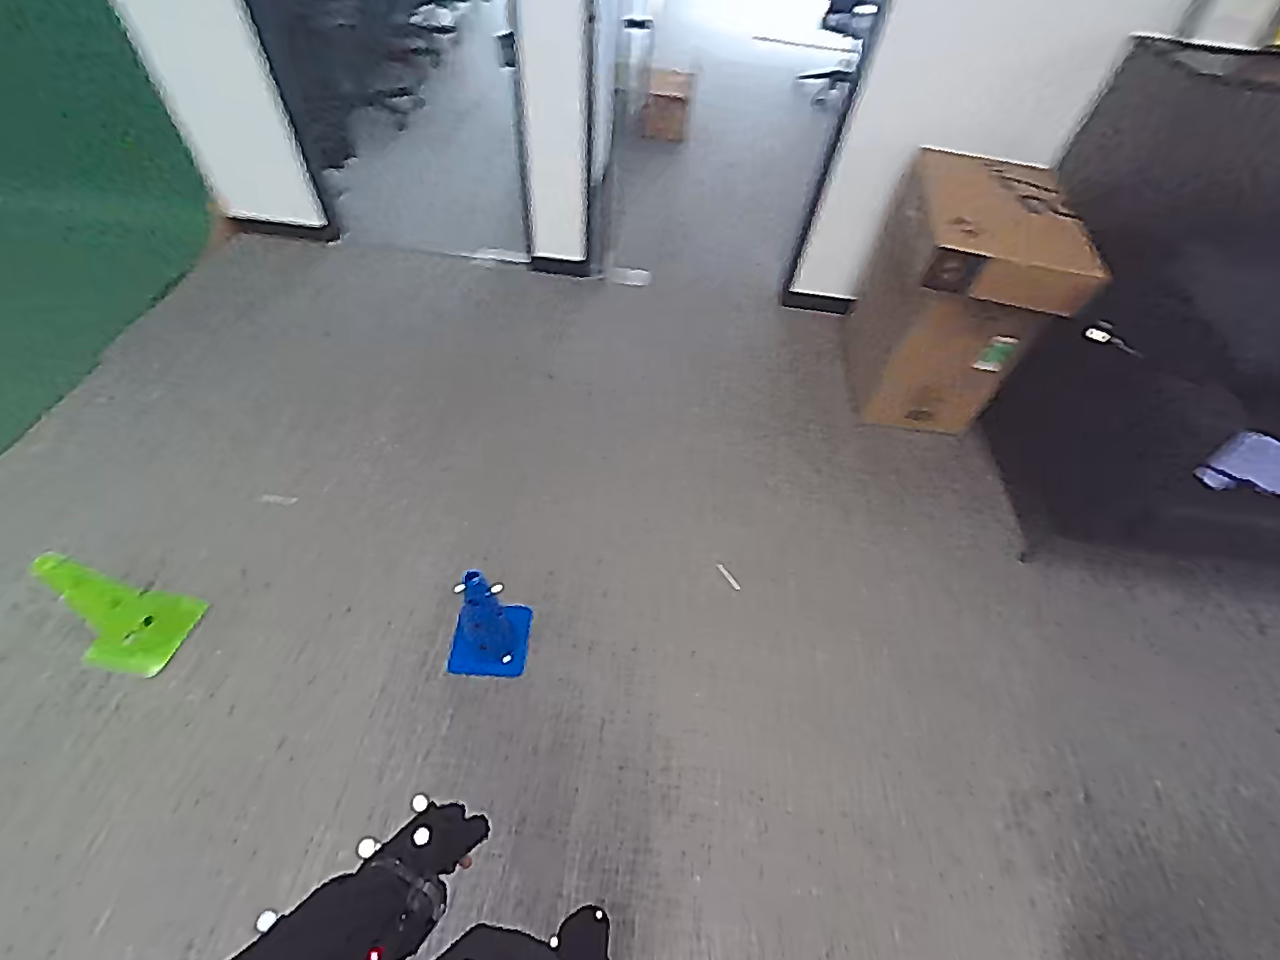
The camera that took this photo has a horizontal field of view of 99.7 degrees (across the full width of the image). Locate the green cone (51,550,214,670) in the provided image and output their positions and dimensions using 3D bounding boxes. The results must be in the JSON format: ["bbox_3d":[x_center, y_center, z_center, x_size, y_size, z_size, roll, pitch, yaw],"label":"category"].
[{"bbox_3d":[-1.247,0.278,1.279,0.202,0.368,0.200,11,51,2],"label":"green cone"}]
